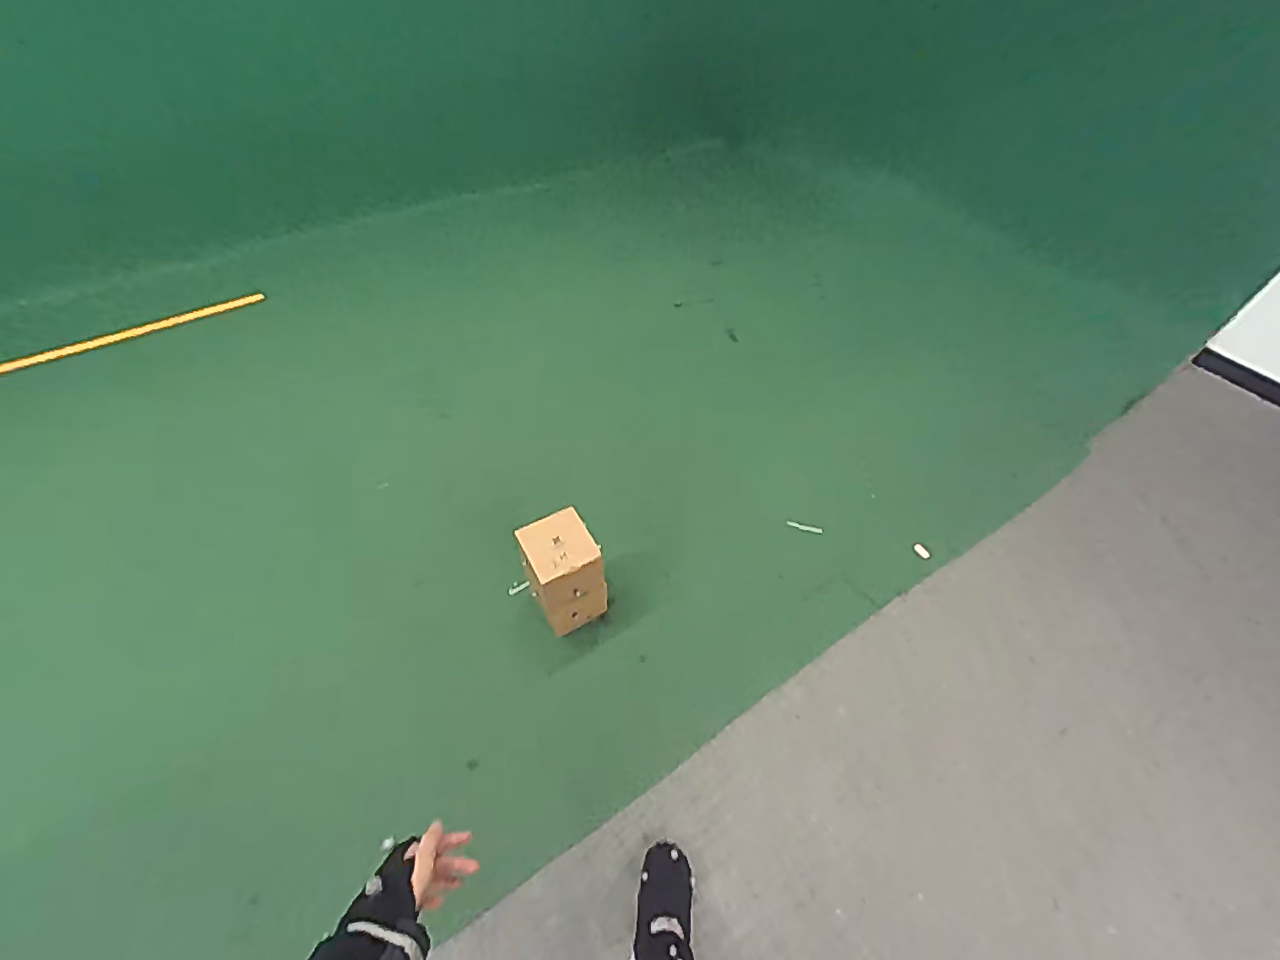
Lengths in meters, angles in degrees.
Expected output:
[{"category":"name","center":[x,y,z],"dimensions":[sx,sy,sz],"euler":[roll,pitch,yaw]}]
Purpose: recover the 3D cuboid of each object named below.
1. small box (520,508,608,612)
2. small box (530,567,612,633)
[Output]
[{"category":"small box","center":[-0.196,0.211,1.418],"dimensions":[0.168,0.176,0.179],"euler":[-25,56,-18]},{"category":"small box","center":[-0.192,0.313,1.548],"dimensions":[0.168,0.176,0.179],"euler":[-27,56,-20]}]
